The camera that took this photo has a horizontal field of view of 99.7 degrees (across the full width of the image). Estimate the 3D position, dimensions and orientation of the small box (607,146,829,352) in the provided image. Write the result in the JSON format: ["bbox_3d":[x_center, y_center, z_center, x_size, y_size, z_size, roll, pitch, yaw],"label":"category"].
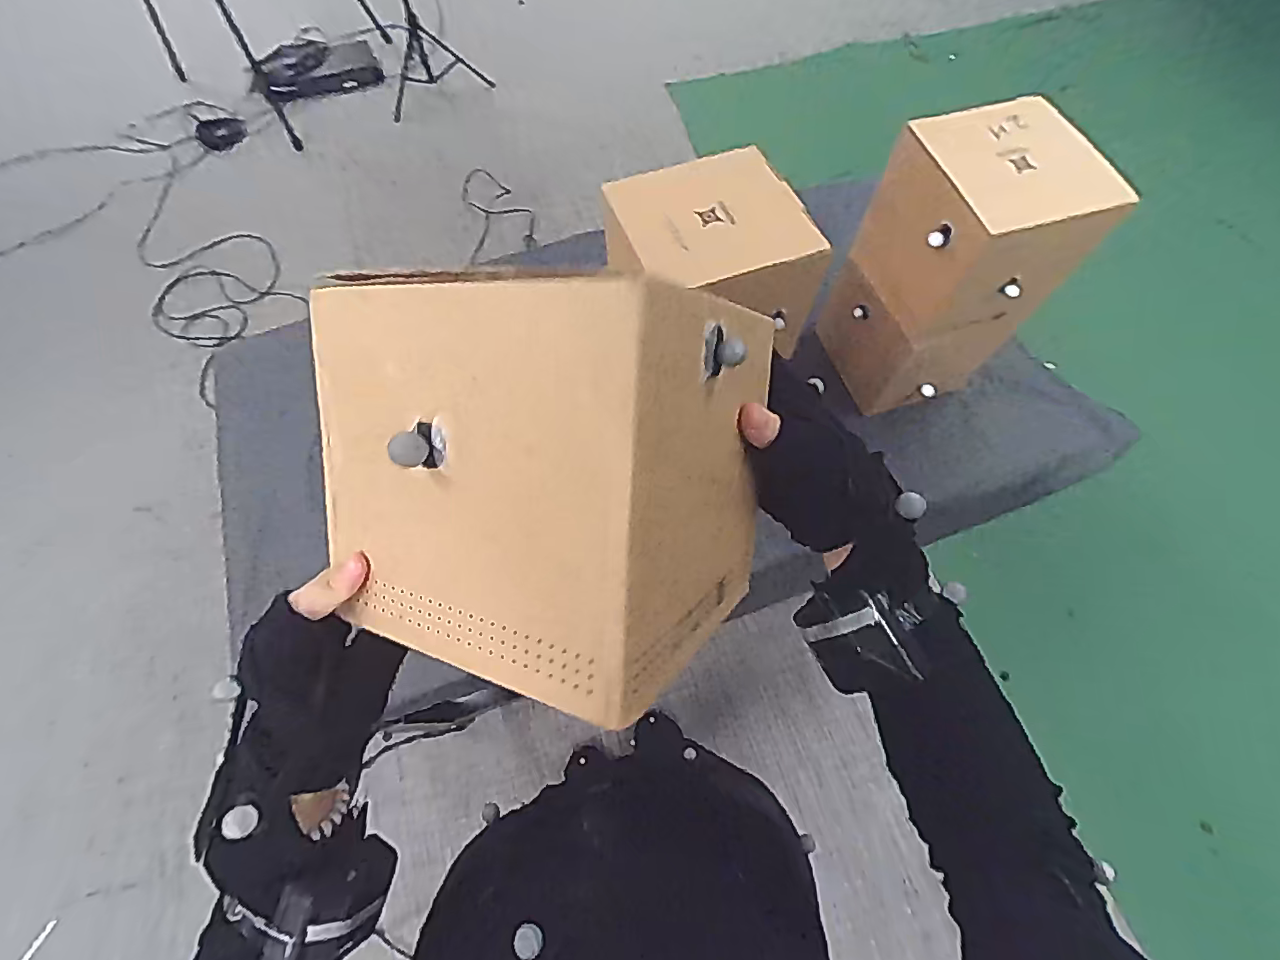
[{"bbox_3d":[0.073,-0.224,0.602,0.179,0.176,0.168,-19,66,-8],"label":"small box"}]

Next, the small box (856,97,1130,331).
[{"bbox_3d":[0.385,-0.295,0.630,0.168,0.176,0.179,-15,66,-6],"label":"small box"}]

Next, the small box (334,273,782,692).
[{"bbox_3d":[-0.036,-0.014,0.301,0.179,0.168,0.176,11,107,27],"label":"small box"}]
